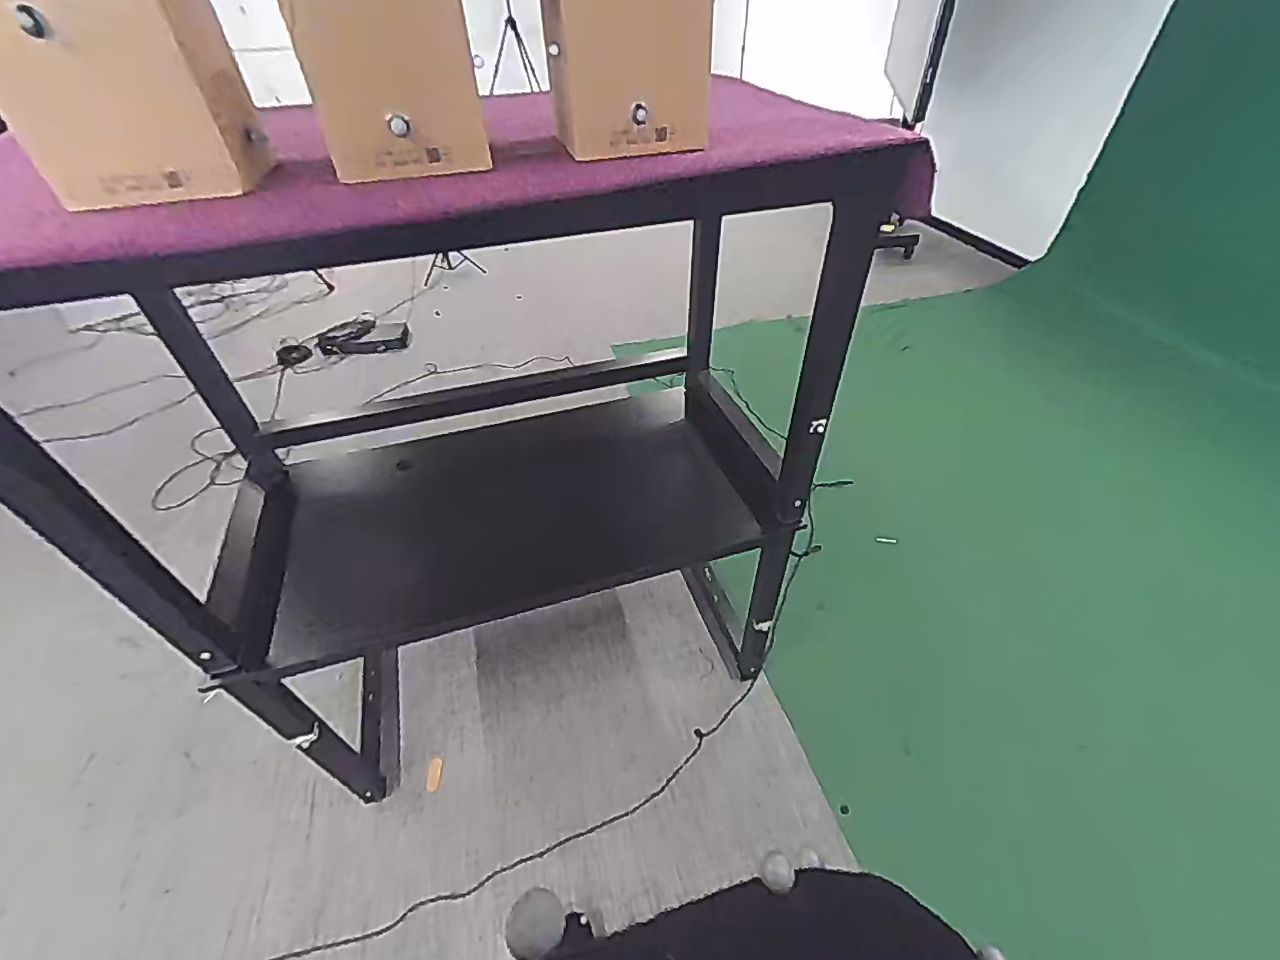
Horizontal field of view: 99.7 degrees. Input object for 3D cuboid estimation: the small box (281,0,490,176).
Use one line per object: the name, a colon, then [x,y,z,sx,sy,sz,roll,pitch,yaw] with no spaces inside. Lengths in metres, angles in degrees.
small box: [-0.273,-0.456,0.608,0.168,0.176,0.179,-12,44,-11]

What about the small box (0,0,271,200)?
small box: [-0.514,-0.401,0.555,0.168,0.176,0.179,-13,43,-12]
